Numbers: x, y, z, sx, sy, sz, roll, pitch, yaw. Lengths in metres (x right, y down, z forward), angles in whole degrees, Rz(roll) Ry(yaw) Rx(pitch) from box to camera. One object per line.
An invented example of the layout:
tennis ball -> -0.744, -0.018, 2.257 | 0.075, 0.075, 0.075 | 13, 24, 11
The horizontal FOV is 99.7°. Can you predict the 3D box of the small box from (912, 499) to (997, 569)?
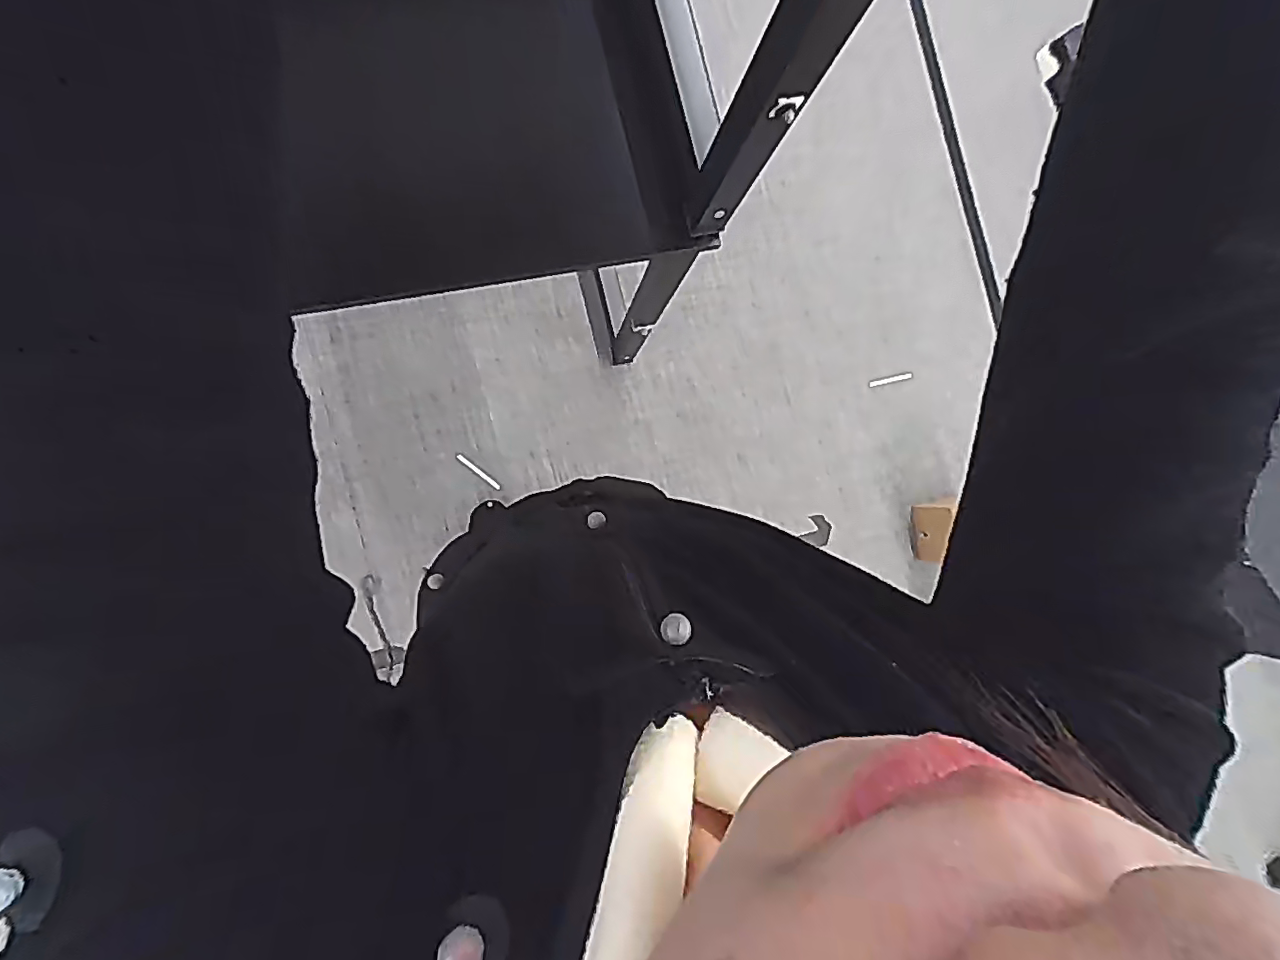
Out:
small box -> 0.943, 0.154, 1.610 | 0.168, 0.176, 0.179 | -9, 90, -11
